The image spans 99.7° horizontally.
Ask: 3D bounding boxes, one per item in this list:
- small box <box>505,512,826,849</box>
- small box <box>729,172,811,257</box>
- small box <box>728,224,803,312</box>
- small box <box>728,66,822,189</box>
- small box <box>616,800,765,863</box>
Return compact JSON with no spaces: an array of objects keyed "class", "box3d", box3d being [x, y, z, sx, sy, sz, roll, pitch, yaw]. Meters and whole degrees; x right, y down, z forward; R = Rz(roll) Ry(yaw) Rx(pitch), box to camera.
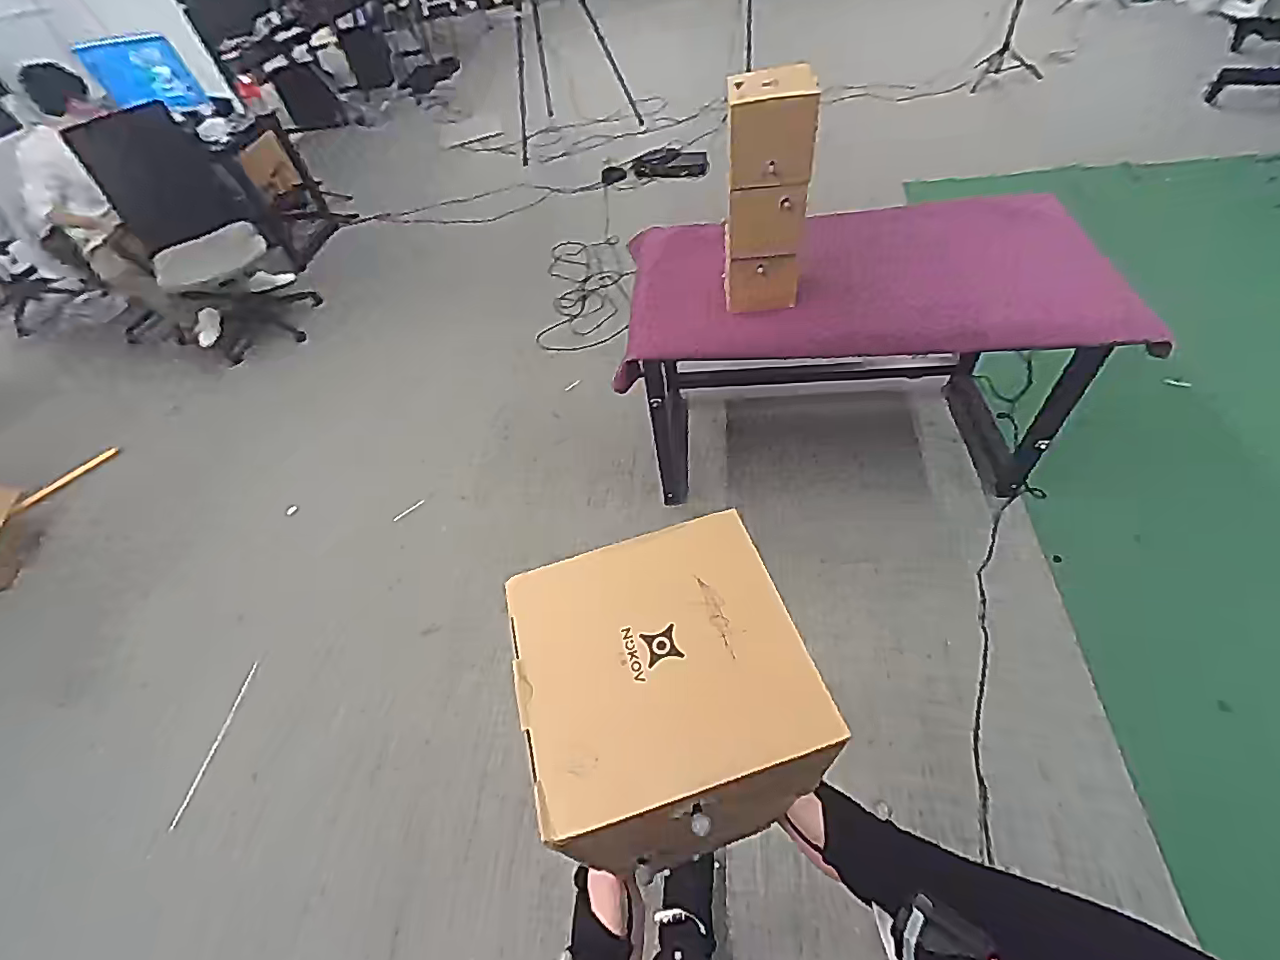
[{"class":"small box","box3d":[0.014,0.155,0.407,0.179,0.176,0.168,-16,51,-4]},{"class":"small box","box3d":[0.303,-0.656,1.292,0.179,0.176,0.168,-1,52,10]},{"class":"small box","box3d":[0.325,-0.568,1.431,0.179,0.176,0.168,-3,52,9]},{"class":"small box","box3d":[0.280,-0.753,1.162,0.179,0.176,0.168,-1,52,8]},{"class":"small box","box3d":[0.048,0.348,0.669,0.179,0.176,0.168,-17,50,-5]}]
